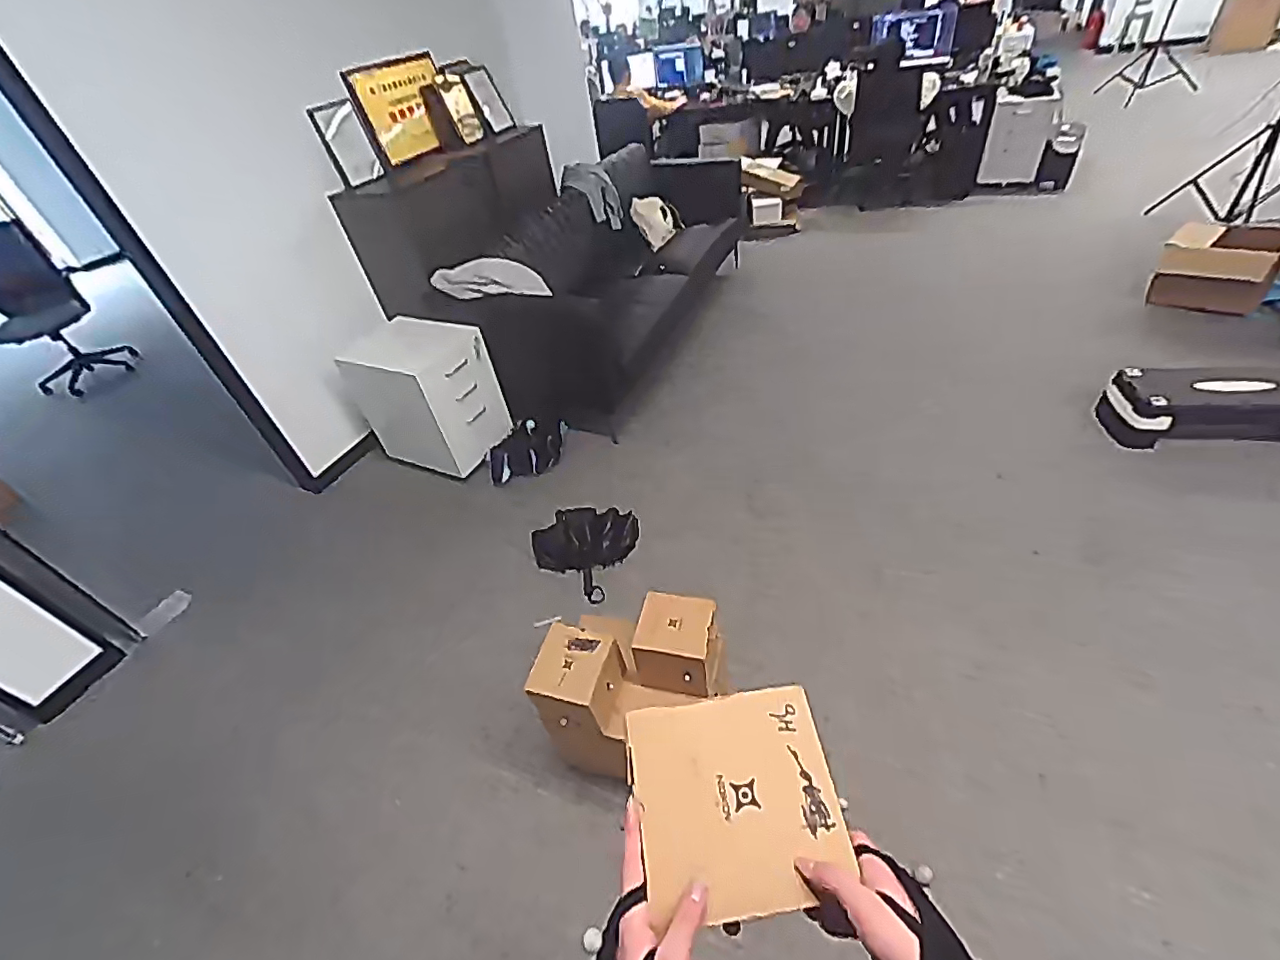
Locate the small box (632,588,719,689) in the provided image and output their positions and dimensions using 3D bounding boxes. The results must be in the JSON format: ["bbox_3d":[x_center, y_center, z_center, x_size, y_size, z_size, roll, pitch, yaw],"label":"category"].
[{"bbox_3d":[0.096,0.394,1.336,0.179,0.176,0.168,3,40,17],"label":"small box"}]

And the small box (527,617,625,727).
[{"bbox_3d":[-0.143,0.464,1.308,0.168,0.176,0.179,7,48,19],"label":"small box"}]
